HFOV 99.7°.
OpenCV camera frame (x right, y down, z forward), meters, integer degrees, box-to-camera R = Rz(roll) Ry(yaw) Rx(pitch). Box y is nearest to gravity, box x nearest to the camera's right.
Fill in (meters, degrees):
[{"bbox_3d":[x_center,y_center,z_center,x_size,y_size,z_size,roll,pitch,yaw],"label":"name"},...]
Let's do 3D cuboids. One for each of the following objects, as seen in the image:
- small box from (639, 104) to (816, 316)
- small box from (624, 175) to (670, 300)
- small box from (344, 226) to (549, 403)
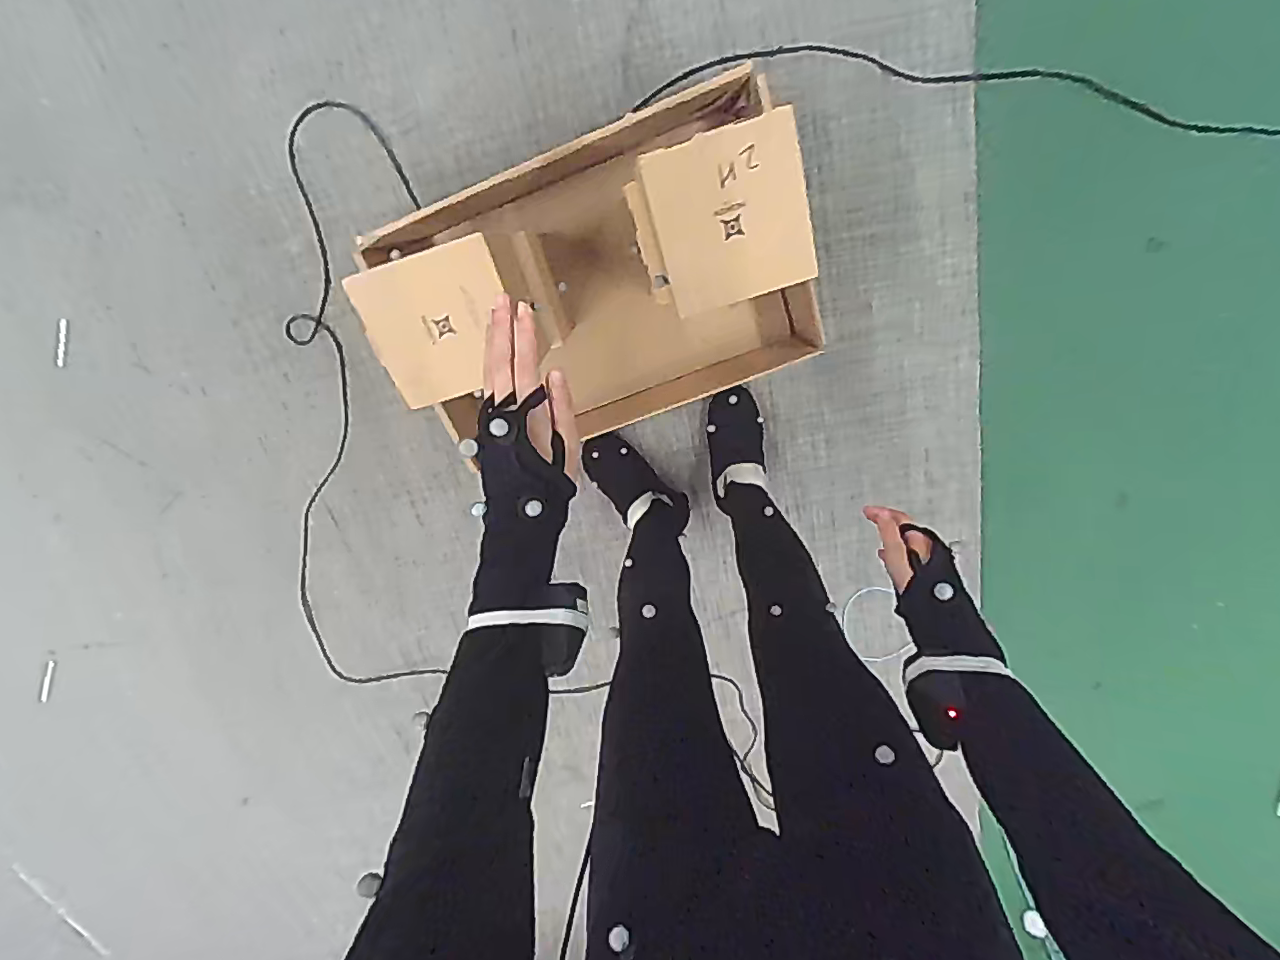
[{"bbox_3d":[0.100,-0.318,0.662,0.168,0.176,0.179,-16,112,5],"label":"small box"},{"bbox_3d":[0.084,-0.381,0.815,0.179,0.176,0.168,-15,113,7],"label":"small box"},{"bbox_3d":[-0.233,-0.218,0.704,0.179,0.176,0.168,-15,114,5],"label":"small box"}]
